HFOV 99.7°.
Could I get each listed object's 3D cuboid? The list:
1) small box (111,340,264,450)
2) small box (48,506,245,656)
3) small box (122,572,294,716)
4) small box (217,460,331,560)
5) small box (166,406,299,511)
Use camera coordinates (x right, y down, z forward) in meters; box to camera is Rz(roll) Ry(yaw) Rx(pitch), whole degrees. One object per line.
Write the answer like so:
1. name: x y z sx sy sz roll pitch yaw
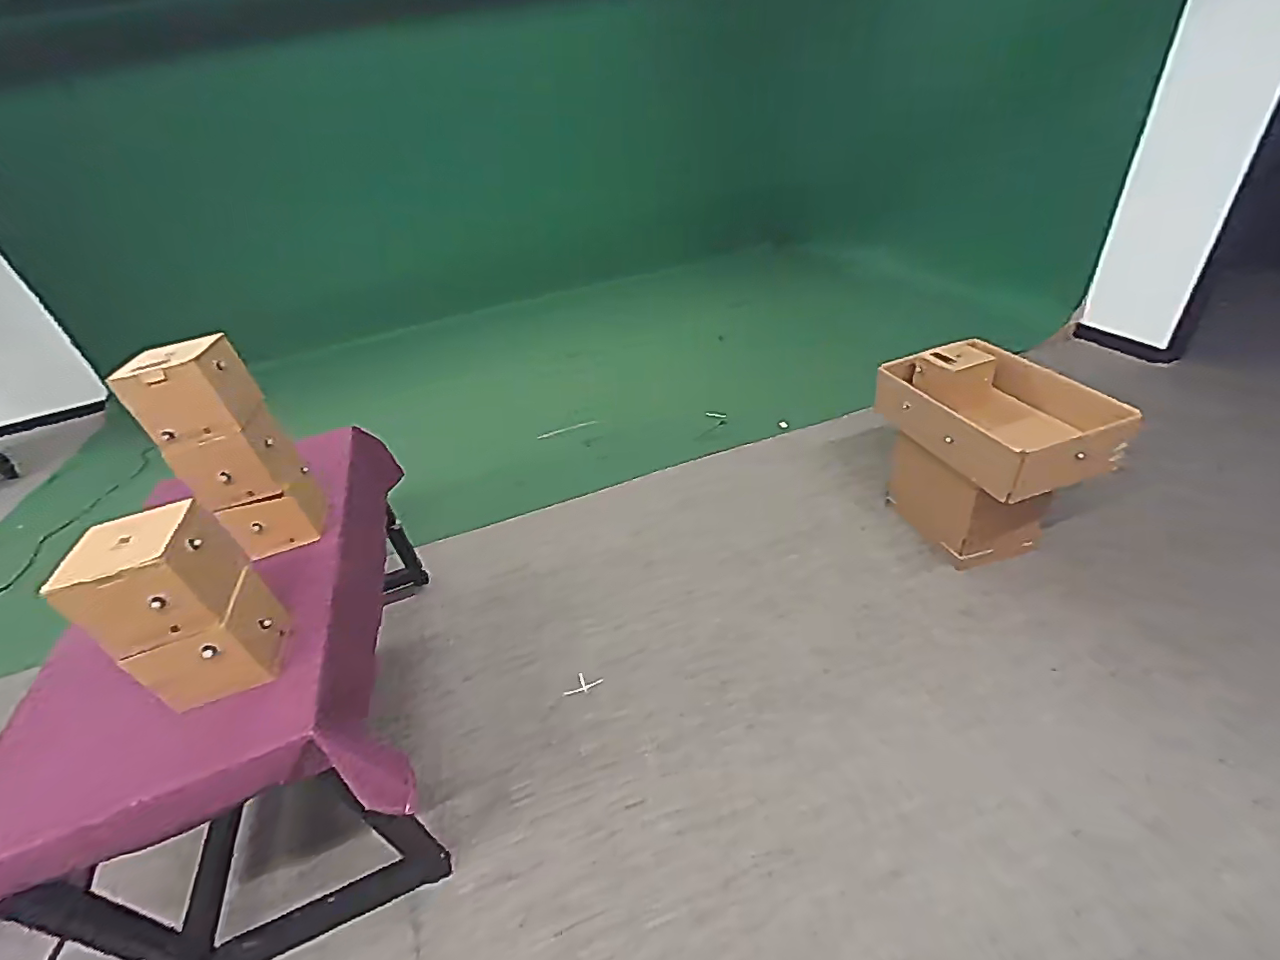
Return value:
1. small box: -0.968 -0.181 1.180 0.168 0.176 0.179 -17 35 -7
2. small box: -0.830 0.179 0.938 0.168 0.176 0.179 -18 36 -11
3. small box: -0.801 0.311 1.030 0.179 0.176 0.168 -18 36 -9
4. small box: -0.915 0.081 1.373 0.168 0.176 0.179 -19 37 -10
5. small box: -0.940 -0.045 1.270 0.168 0.176 0.179 -17 37 -7
